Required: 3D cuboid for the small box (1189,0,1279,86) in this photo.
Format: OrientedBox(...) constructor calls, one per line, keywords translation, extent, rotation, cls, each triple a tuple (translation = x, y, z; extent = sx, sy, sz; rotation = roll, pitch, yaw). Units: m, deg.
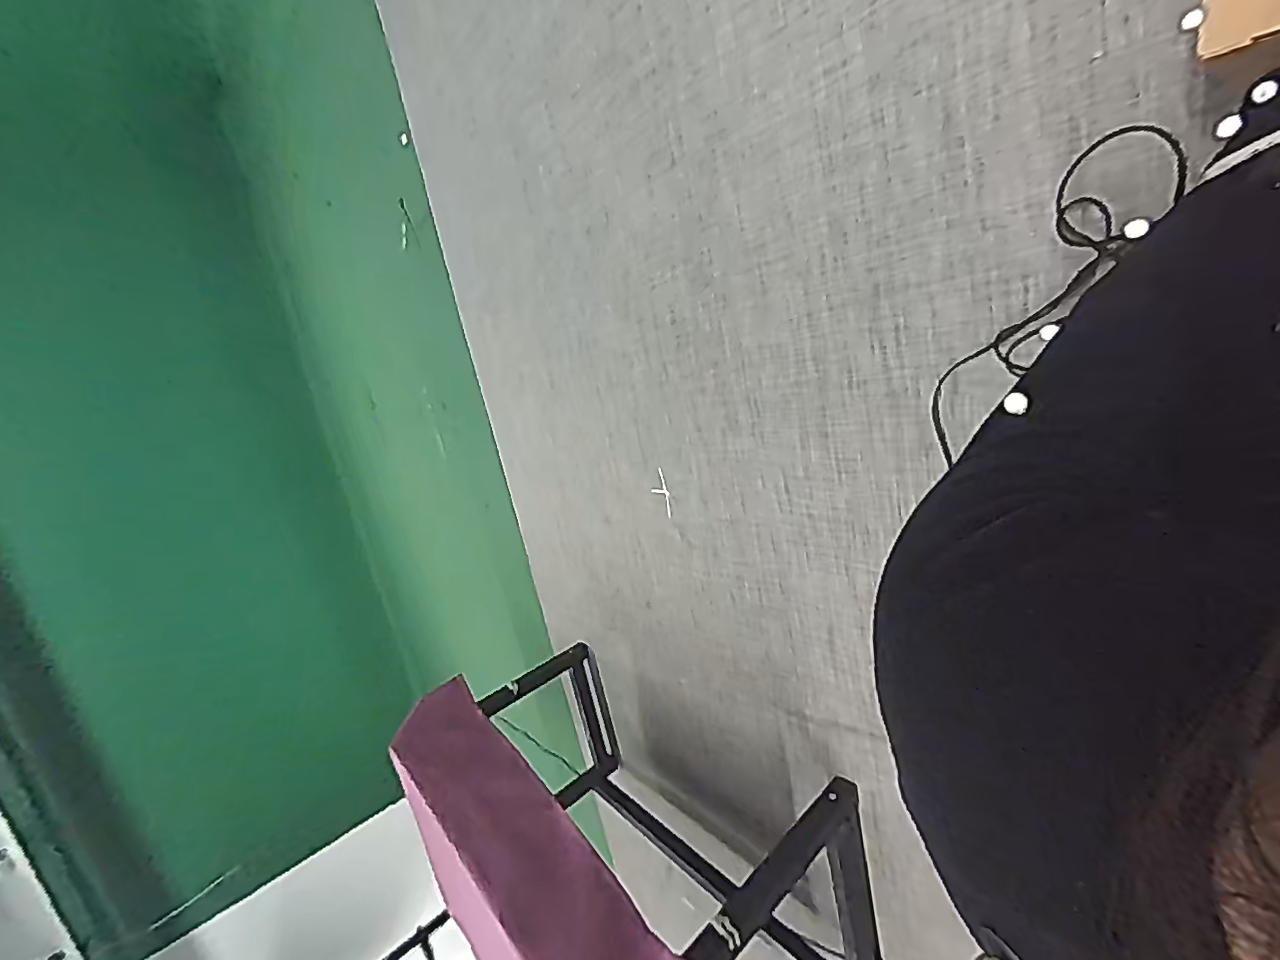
OrientedBox(translation=(0.575, -0.454, 0.431), extent=(0.168, 0.176, 0.179), rotation=(11, 115, 50), cls="small box")
